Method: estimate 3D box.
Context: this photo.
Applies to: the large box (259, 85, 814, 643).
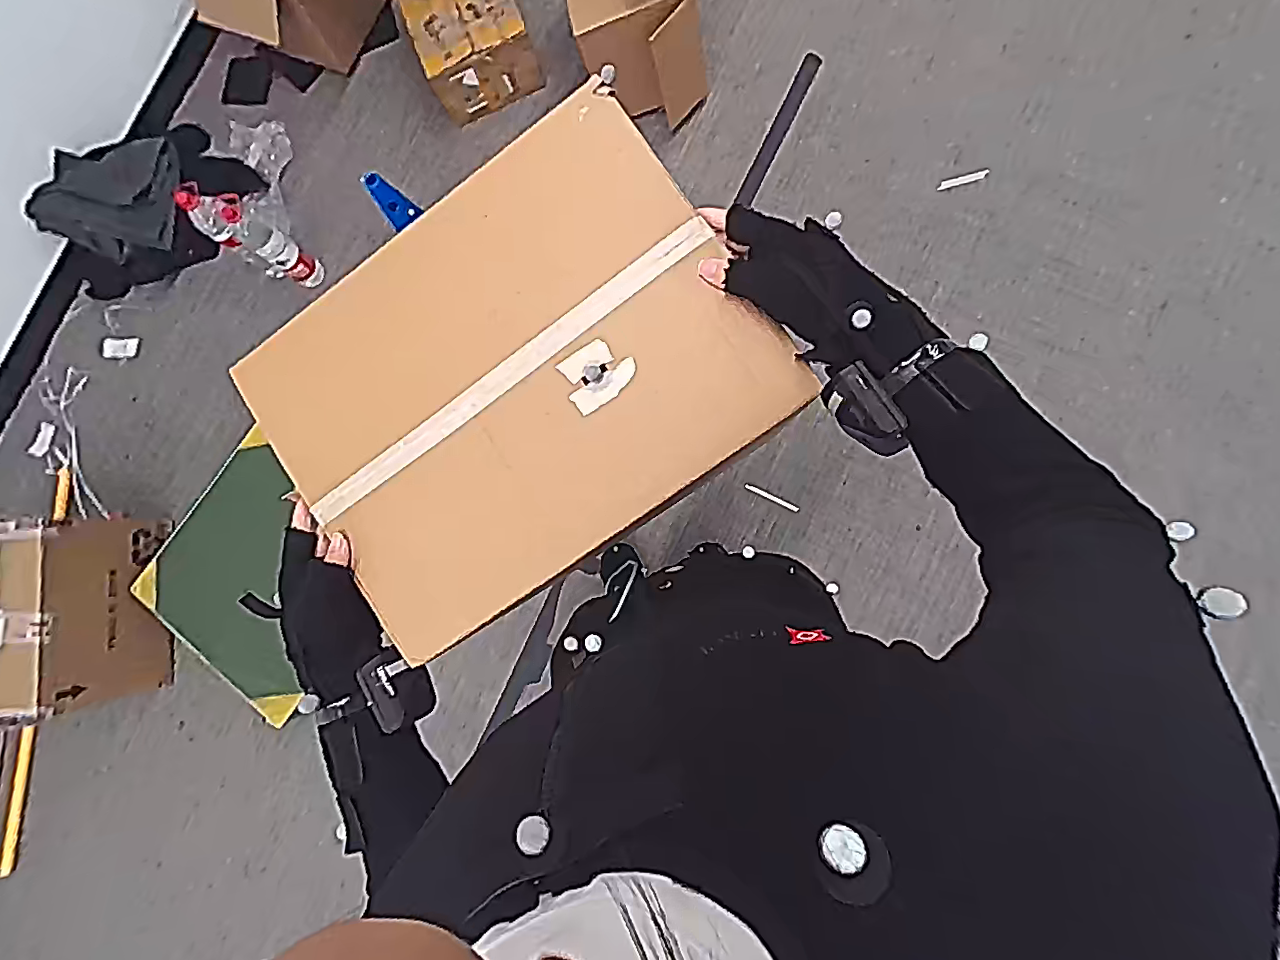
[{"bbox_3d":[-0.085,-0.090,0.603,0.408,0.320,0.320,-34,86,6],"label":"large box"}]
